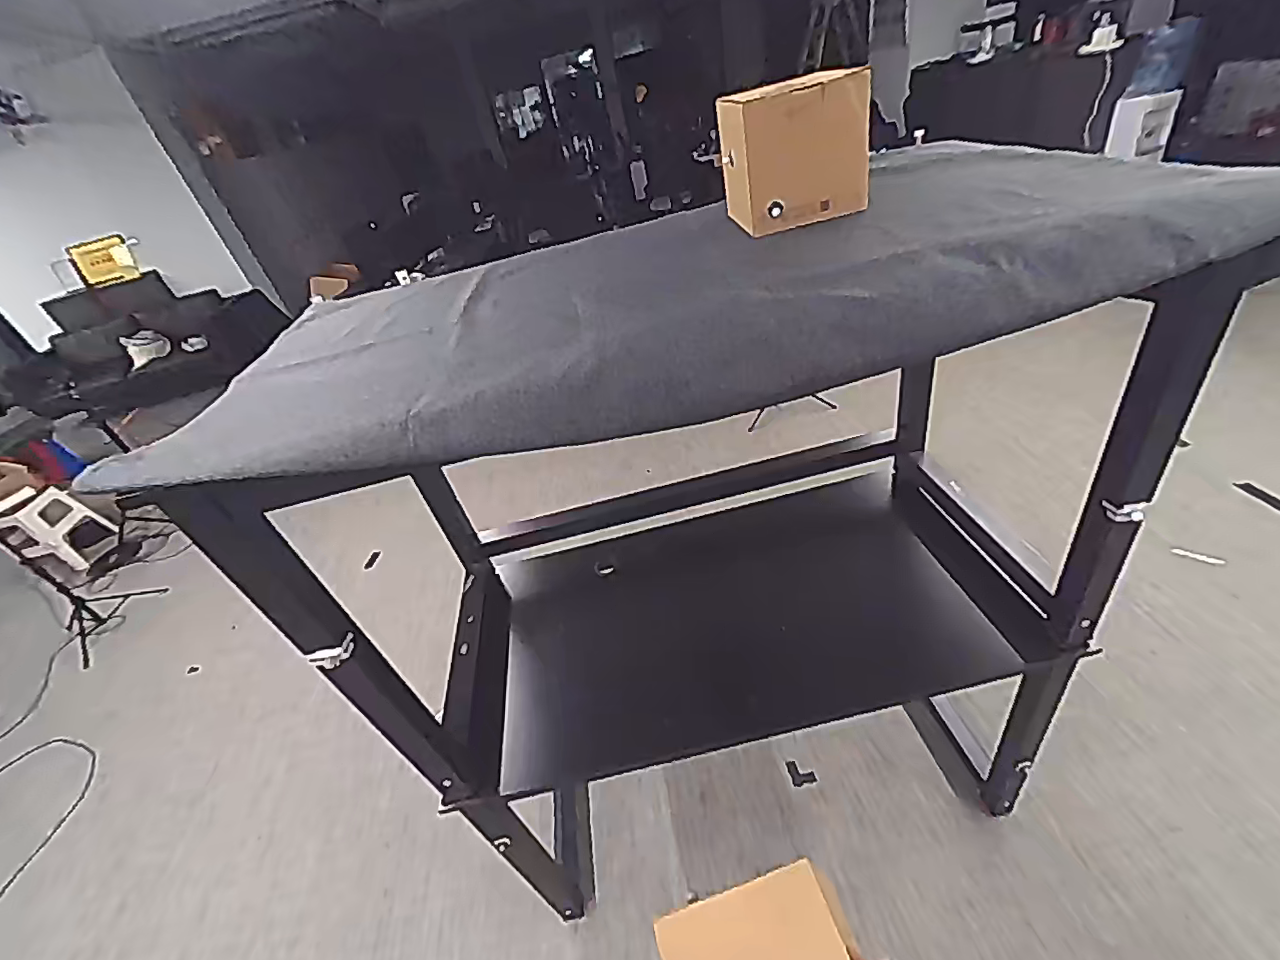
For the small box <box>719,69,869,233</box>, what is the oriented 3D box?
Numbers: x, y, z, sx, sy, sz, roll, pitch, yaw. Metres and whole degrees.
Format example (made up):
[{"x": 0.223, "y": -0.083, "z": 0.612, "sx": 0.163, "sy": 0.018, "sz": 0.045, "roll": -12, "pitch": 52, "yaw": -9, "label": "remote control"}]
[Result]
[{"x": 0.221, "y": -0.477, "z": 0.793, "sx": 0.168, "sy": 0.176, "sz": 0.179, "roll": -12, "pitch": 35, "yaw": 3, "label": "small box"}]
